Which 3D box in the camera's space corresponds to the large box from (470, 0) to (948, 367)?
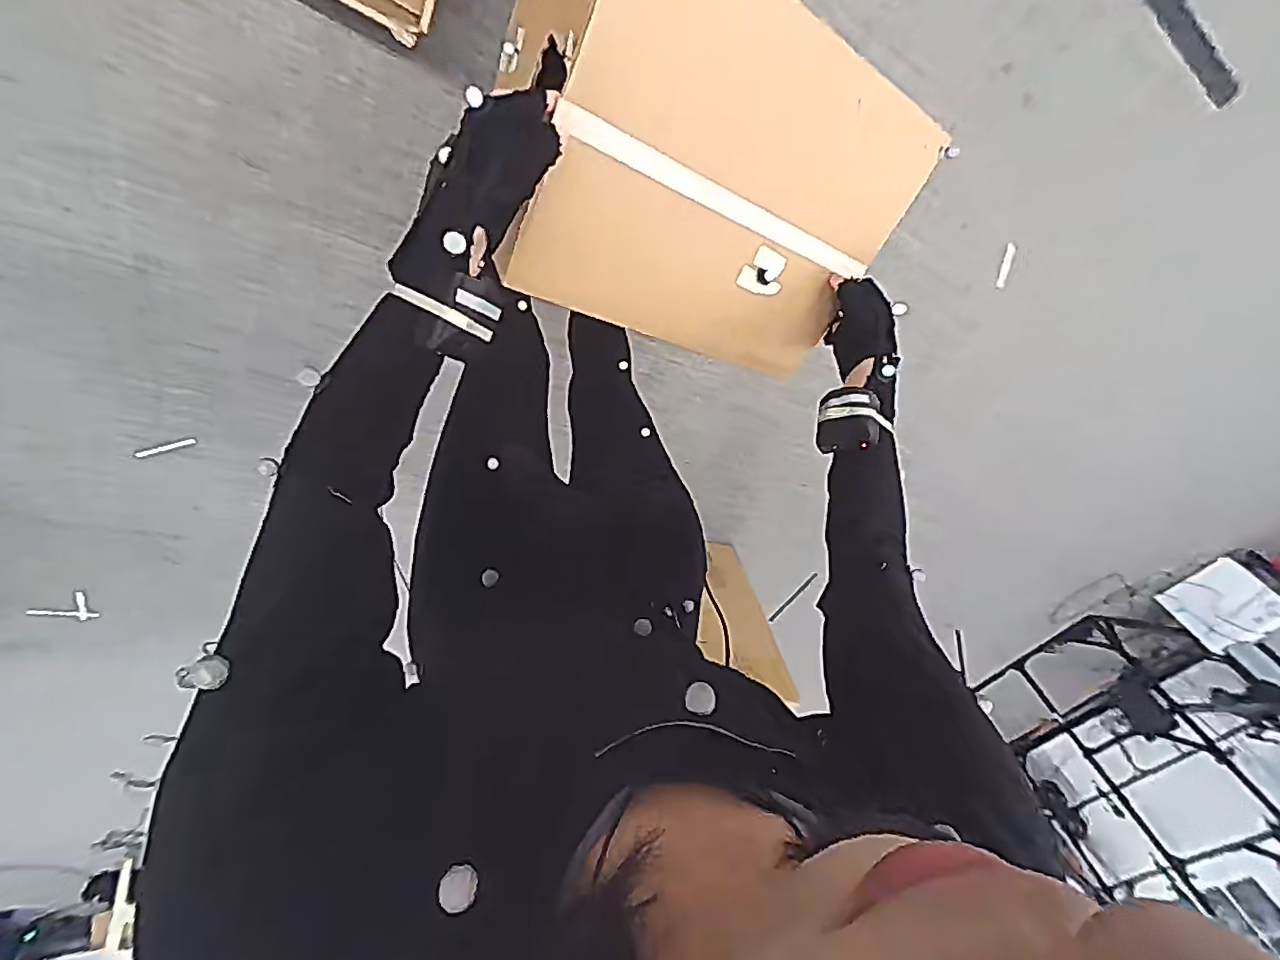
[{"bbox_3d":[0.048,-0.382,0.648,0.408,0.320,0.320,8,126,-32],"label":"large box"}]
